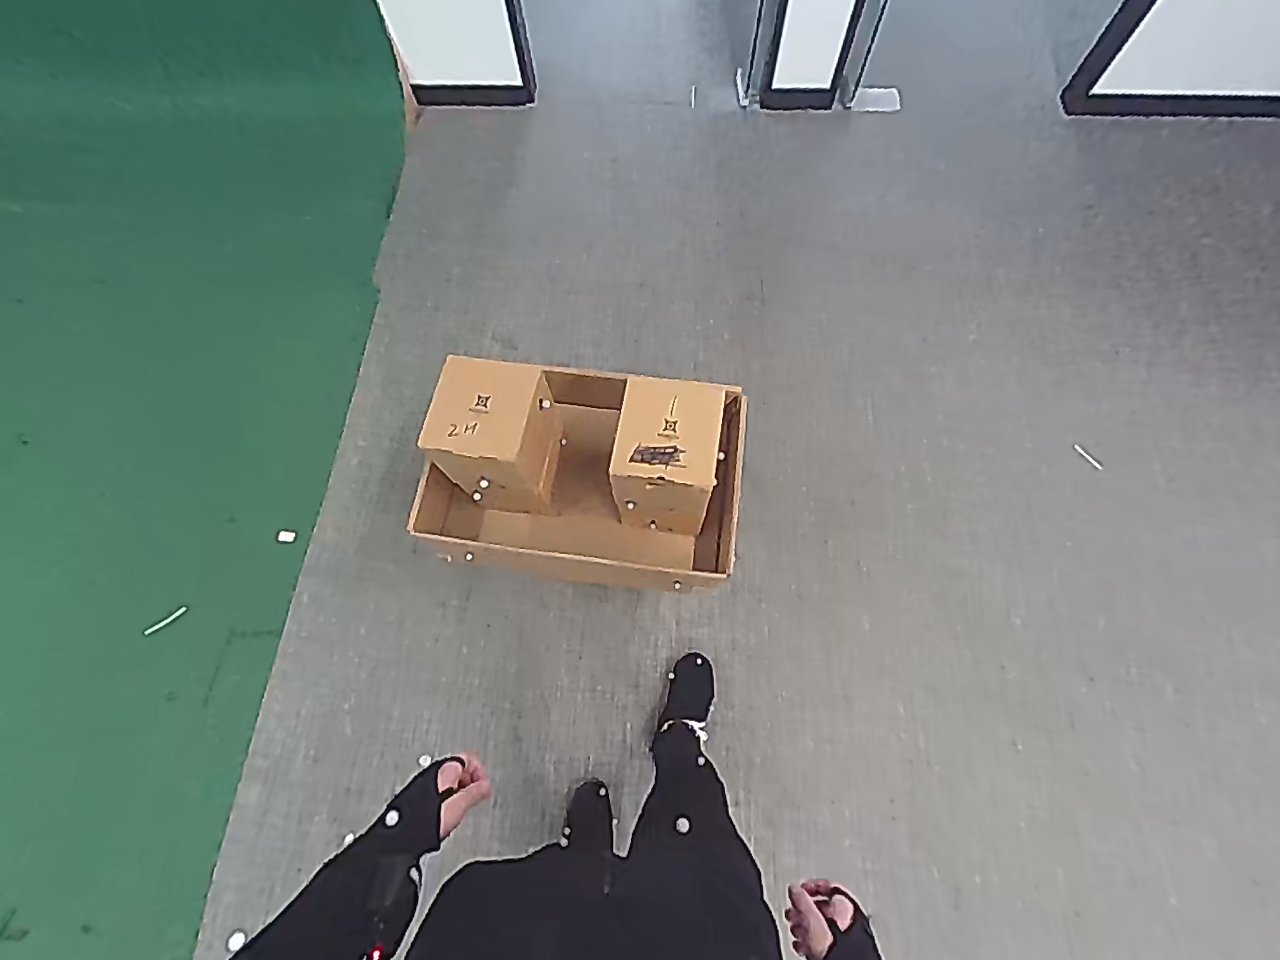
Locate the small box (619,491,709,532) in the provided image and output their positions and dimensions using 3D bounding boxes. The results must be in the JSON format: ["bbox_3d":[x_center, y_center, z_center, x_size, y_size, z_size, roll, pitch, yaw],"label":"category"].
[{"bbox_3d":[0.055,-0.007,1.092,0.168,0.176,0.179,7,71,4],"label":"small box"}]

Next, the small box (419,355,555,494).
[{"bbox_3d":[-0.257,-0.093,0.958,0.168,0.176,0.179,9,71,6],"label":"small box"}]

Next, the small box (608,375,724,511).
[{"bbox_3d":[0.046,-0.056,0.935,0.168,0.176,0.179,8,71,4],"label":"small box"}]
